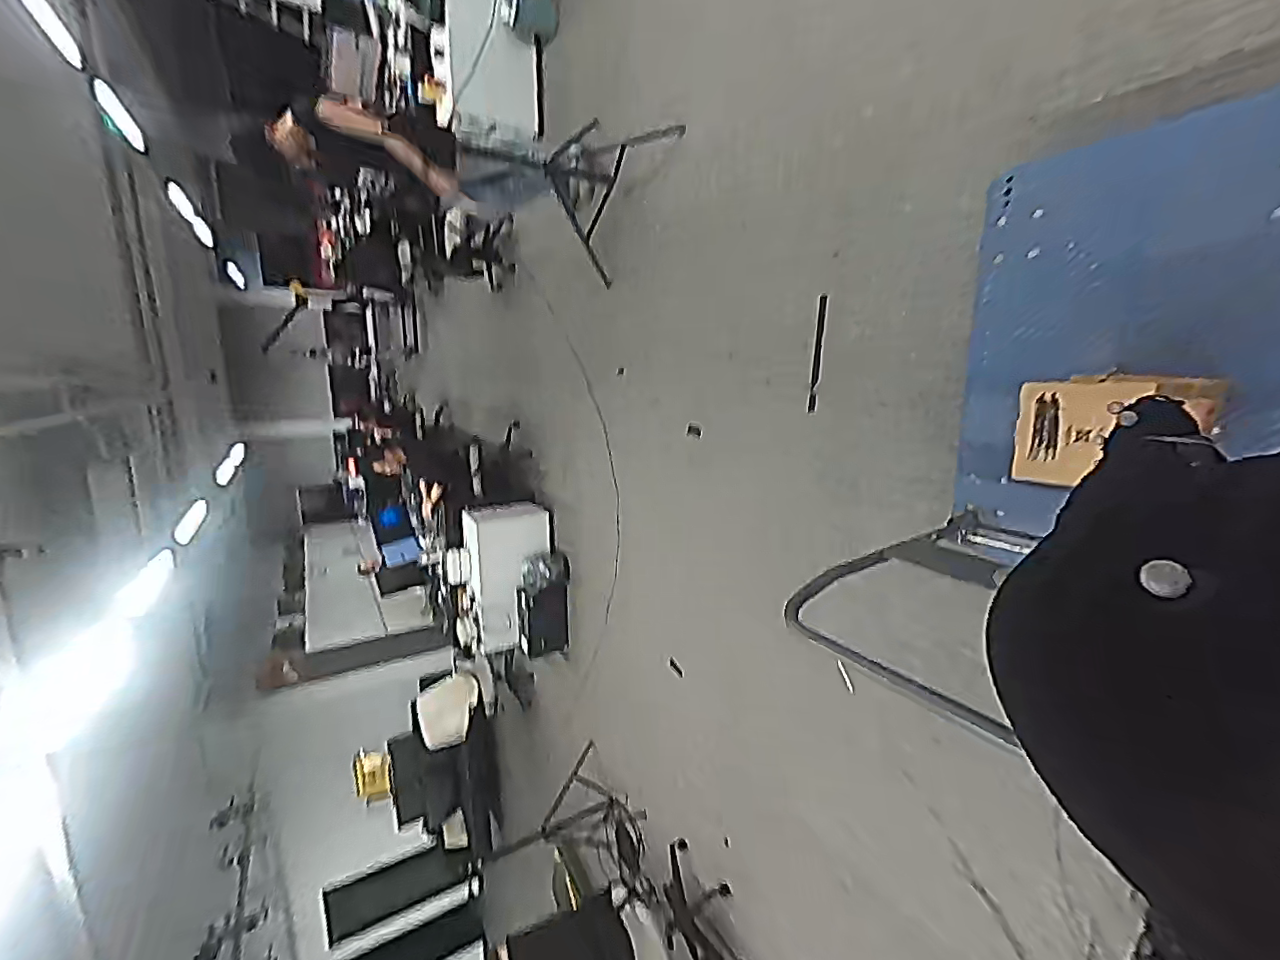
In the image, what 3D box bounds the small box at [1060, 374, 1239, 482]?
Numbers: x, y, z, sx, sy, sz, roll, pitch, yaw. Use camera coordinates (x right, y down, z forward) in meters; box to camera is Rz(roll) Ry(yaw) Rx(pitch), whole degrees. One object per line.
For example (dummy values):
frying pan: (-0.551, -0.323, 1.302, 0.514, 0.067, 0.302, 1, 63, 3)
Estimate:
small box: (0.903, -0.100, 0.964, 0.179, 0.176, 0.168, 23, 116, 55)
